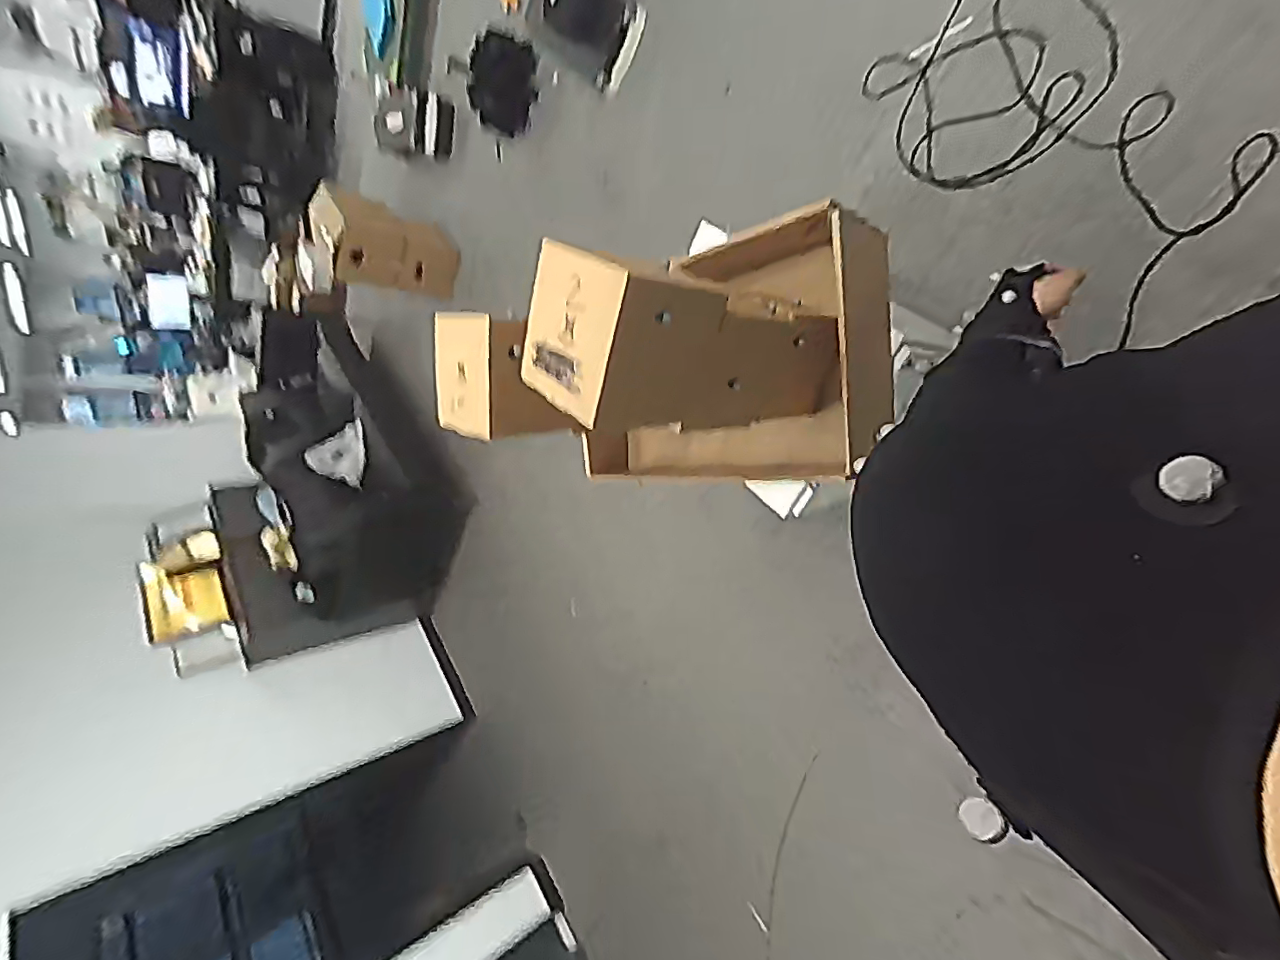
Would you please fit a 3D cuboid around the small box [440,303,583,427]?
[{"bbox_3d":[-0.208,-0.191,0.886,0.168,0.176,0.179,18,111,43],"label":"small box"}]

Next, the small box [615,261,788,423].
[{"bbox_3d":[0.094,-0.205,0.809,0.168,0.176,0.179,43,128,34],"label":"small box"}]

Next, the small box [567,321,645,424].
[{"bbox_3d":[-0.103,-0.207,1.013,0.179,0.176,0.168,21,114,40],"label":"small box"}]
